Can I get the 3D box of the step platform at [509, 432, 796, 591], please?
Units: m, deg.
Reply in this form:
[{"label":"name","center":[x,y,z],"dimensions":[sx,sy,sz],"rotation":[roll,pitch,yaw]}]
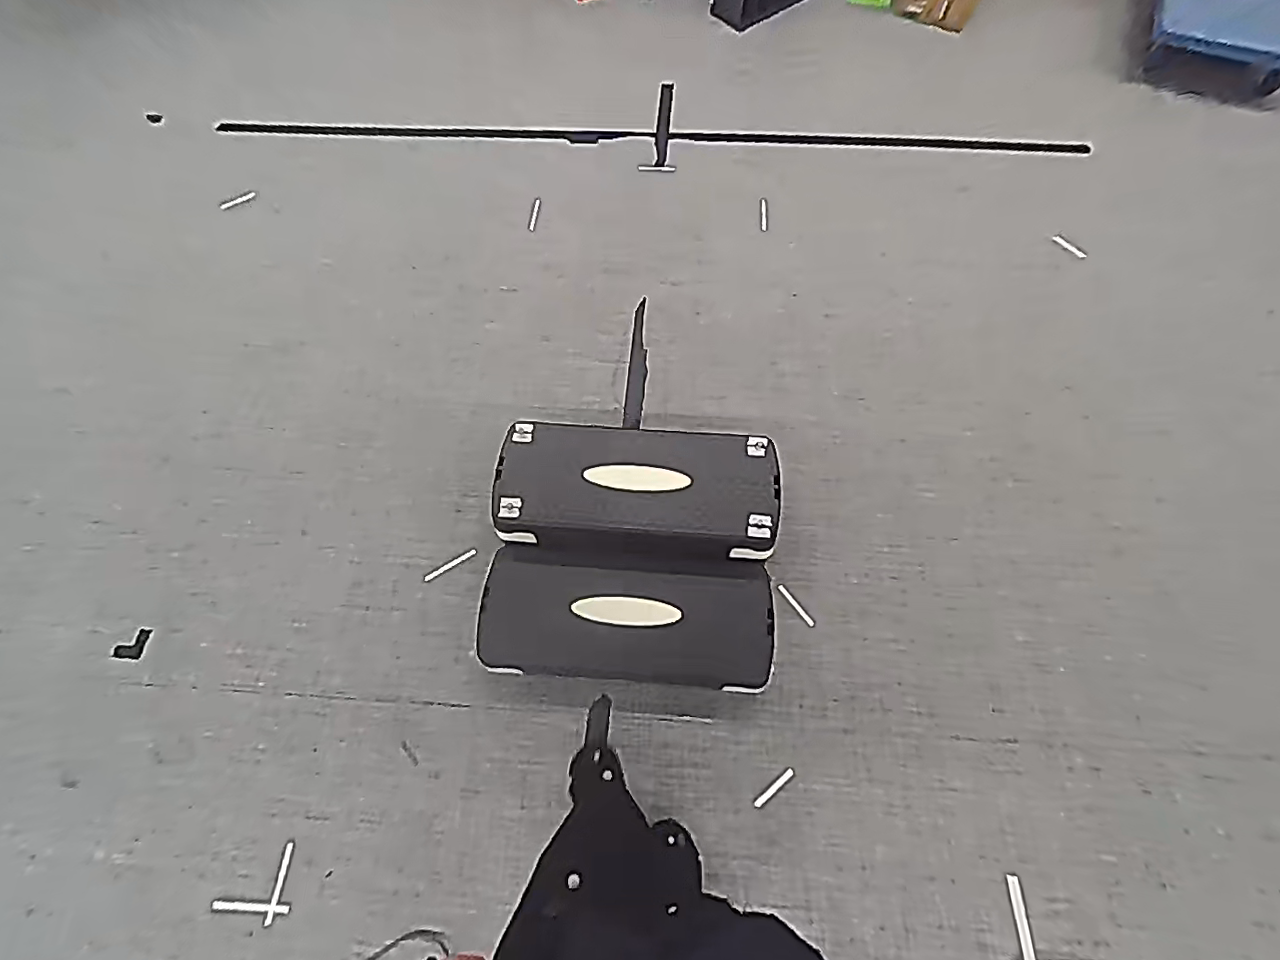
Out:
[{"label":"step platform","center":[0.030,0.075,1.334],"dimensions":[0.684,0.204,0.286],"rotation":[8,64,4]}]
